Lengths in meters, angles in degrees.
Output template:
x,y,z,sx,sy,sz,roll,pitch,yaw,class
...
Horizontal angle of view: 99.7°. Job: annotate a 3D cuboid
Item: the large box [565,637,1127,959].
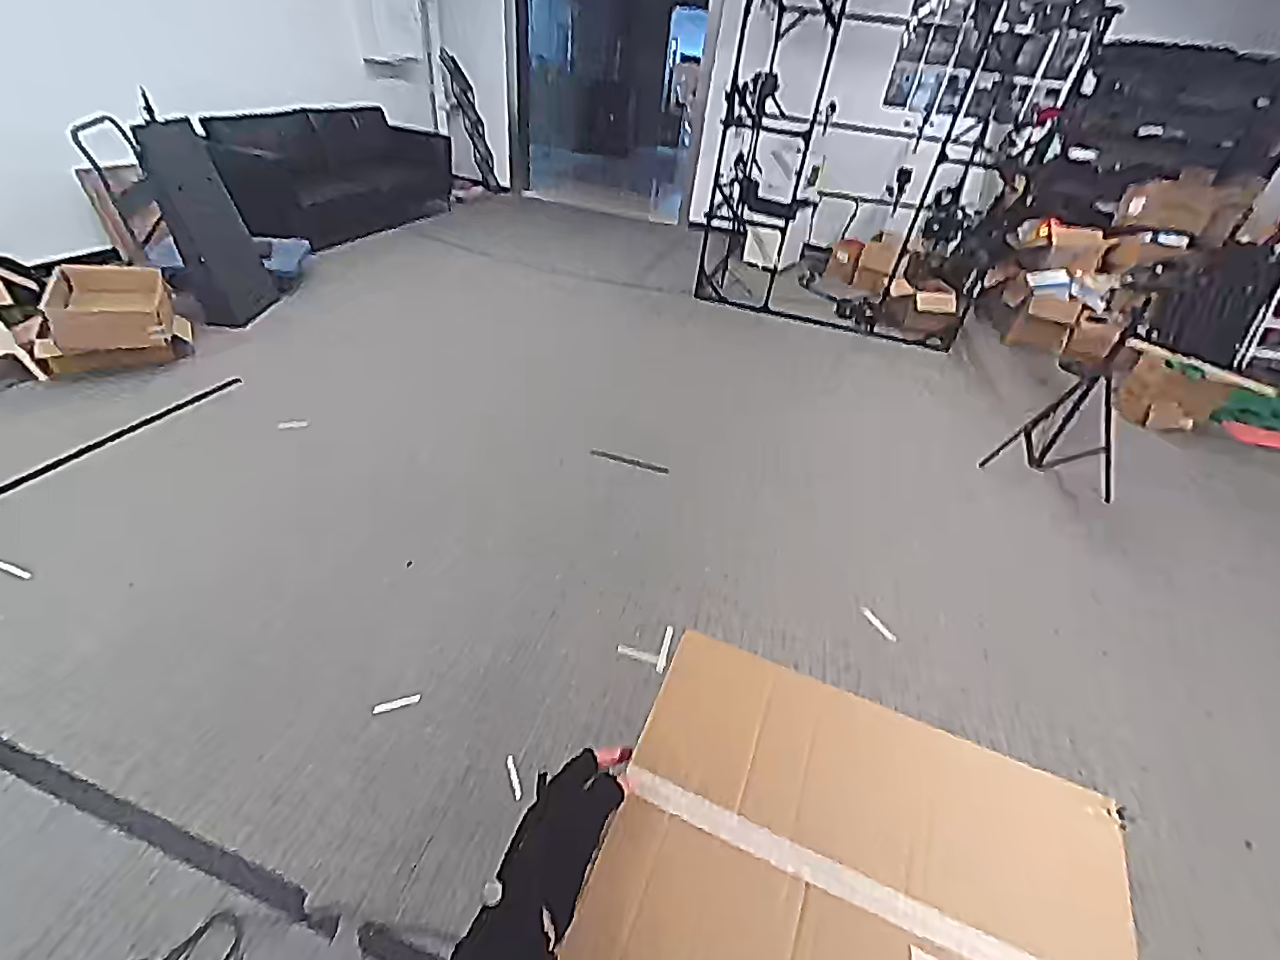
x,y,z,sx,sy,sz,roll,pitch,yaw,class
0.176,0.430,0.560,0.408,0.320,0.320,19,51,16,large box
